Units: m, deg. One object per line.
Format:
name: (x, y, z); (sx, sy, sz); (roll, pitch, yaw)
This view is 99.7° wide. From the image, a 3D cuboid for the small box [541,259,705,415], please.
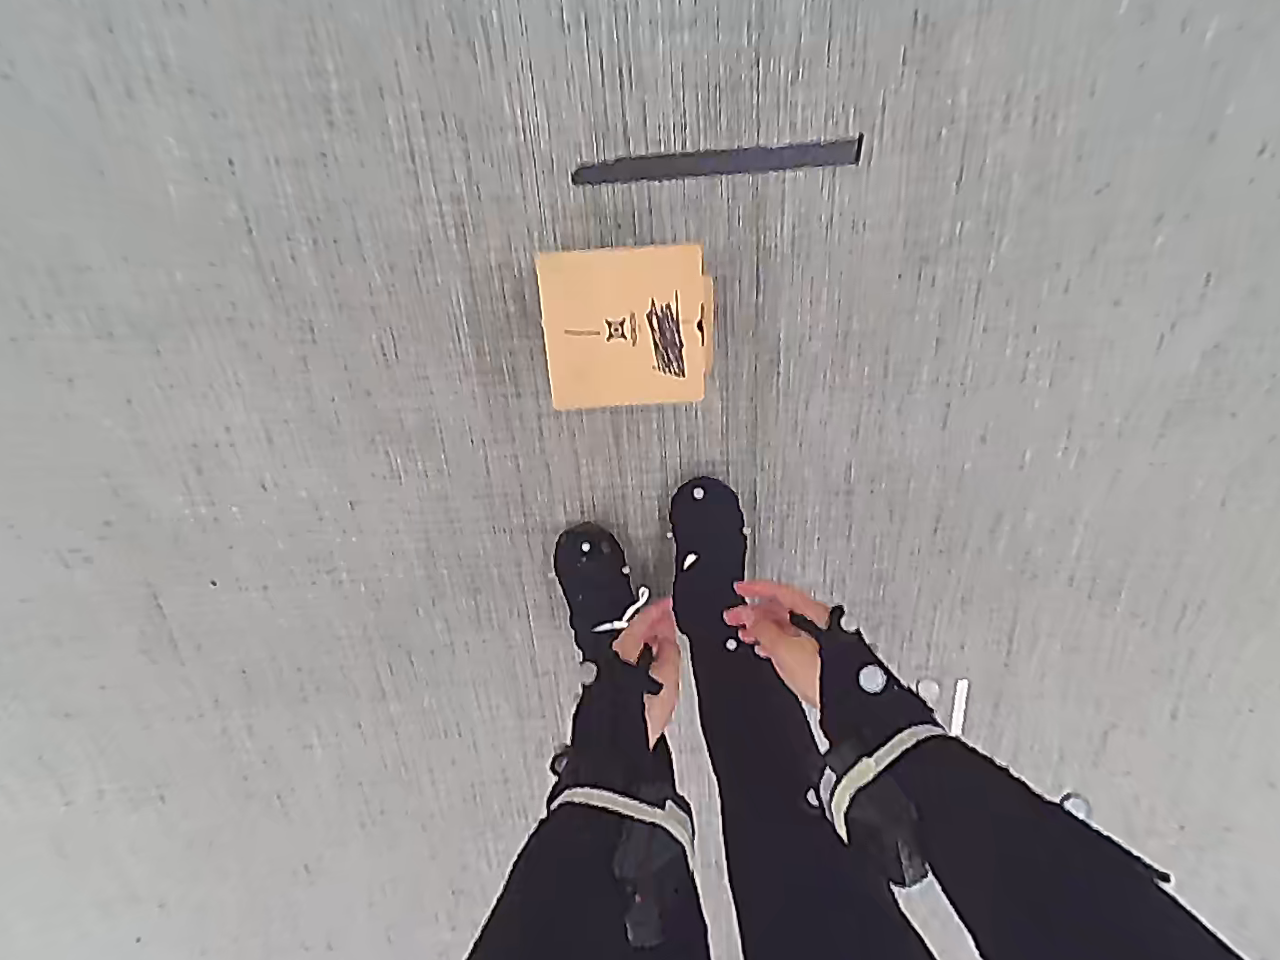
small box: (-0.019, -0.183, 0.672); (0.179, 0.176, 0.168); (-3, 110, 0)
